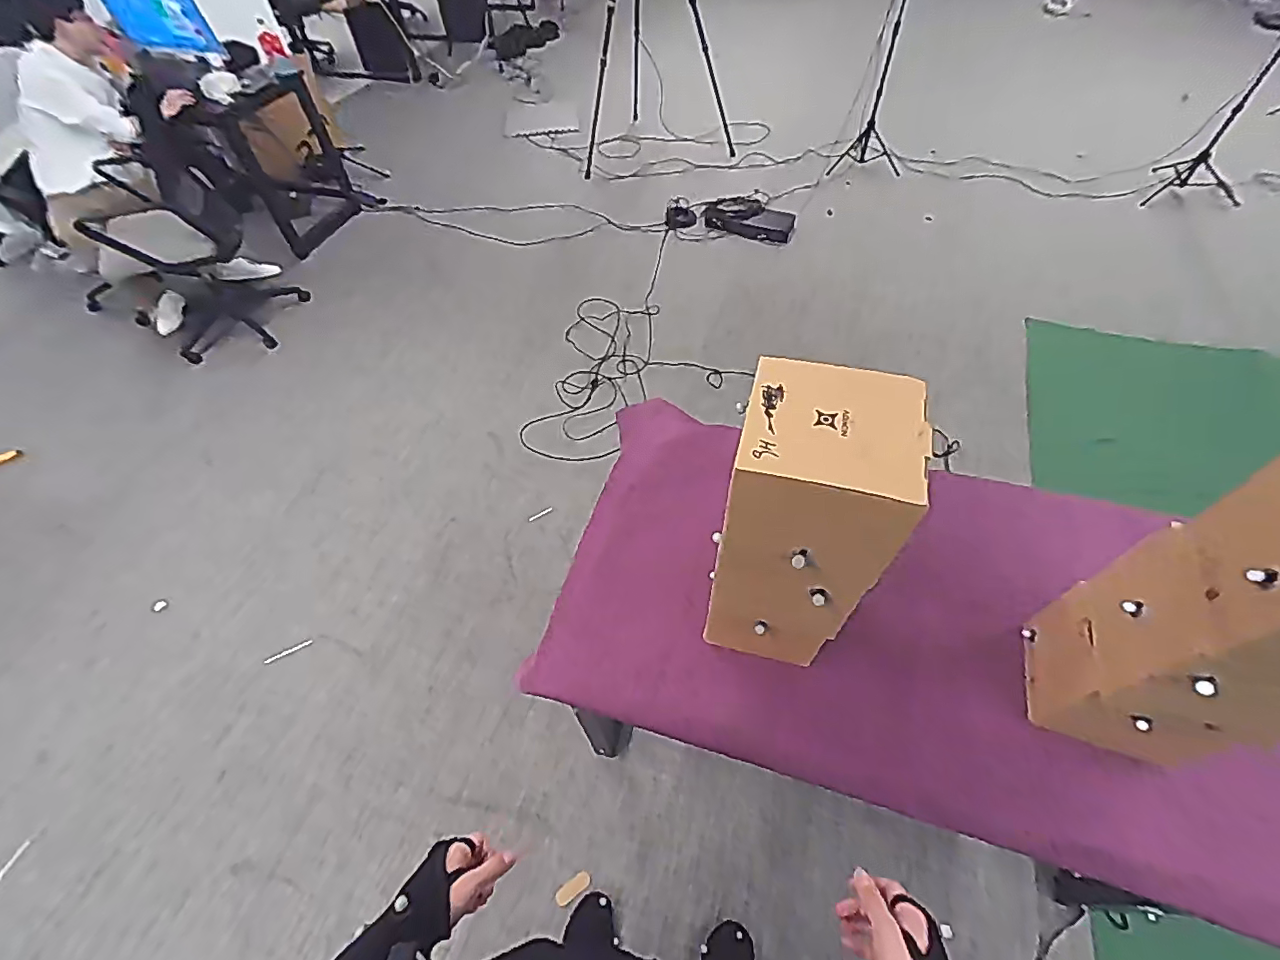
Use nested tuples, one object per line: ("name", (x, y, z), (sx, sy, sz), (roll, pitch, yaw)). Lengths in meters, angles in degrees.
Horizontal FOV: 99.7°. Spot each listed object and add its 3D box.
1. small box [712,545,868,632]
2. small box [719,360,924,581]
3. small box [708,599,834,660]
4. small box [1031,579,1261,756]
("small box", (0.203, 0.090, 0.739), (0.179, 0.176, 0.168), (12, 55, 13))
("small box", (0.194, -0.005, 0.606), (0.179, 0.176, 0.168), (12, 55, 12))
("small box", (0.214, 0.176, 0.880), (0.179, 0.176, 0.168), (10, 55, 12))
("small box", (0.691, 0.272, 0.772), (0.179, 0.176, 0.168), (15, 55, 14))
